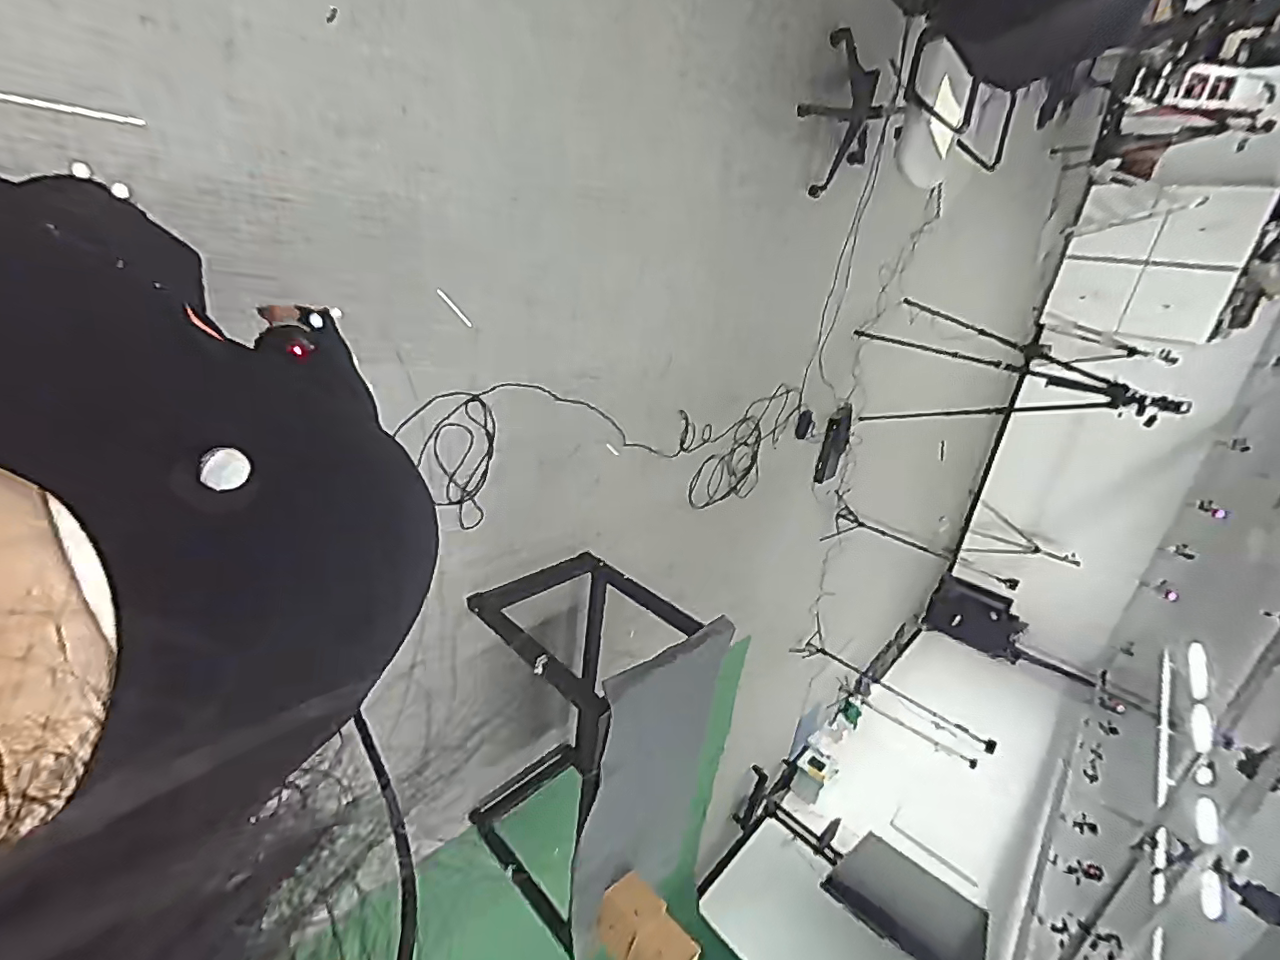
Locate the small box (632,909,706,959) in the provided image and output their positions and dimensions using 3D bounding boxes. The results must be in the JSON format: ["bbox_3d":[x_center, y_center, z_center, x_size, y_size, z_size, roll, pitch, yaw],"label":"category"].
[{"bbox_3d":[0.086,1.602,1.803,0.179,0.176,0.168,4,107,-52],"label":"small box"}]

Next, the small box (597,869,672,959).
[{"bbox_3d":[-0.023,1.530,1.902,0.179,0.176,0.168,12,100,-53],"label":"small box"}]

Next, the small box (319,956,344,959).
[{"bbox_3d":[-1.170,1.883,1.957,0.168,0.176,0.179,-54,141,-14],"label":"small box"}]
